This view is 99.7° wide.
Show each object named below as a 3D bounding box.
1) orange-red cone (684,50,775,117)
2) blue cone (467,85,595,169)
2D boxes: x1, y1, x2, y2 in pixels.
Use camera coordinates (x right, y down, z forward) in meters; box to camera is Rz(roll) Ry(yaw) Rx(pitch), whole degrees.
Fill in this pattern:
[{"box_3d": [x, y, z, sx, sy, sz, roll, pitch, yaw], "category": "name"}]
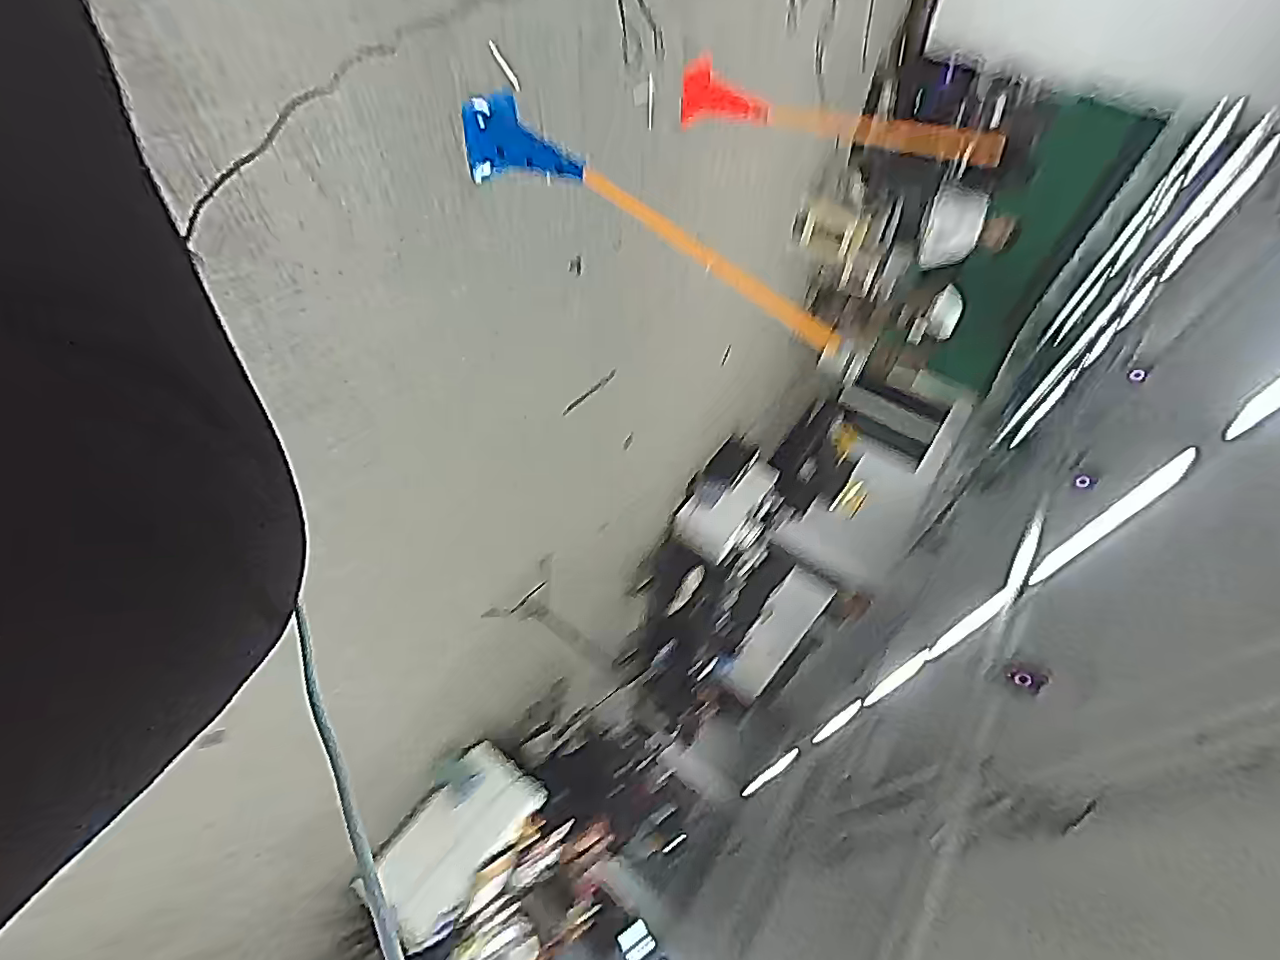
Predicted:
[{"box_3d": [0.373, -1.550, 2.165, 0.198, 0.360, 0.199, -49, 157, -26], "category": "orange-red cone"}, {"box_3d": [-0.288, -0.940, 1.513, 0.192, 0.380, 0.193, -46, 157, -34], "category": "blue cone"}]
